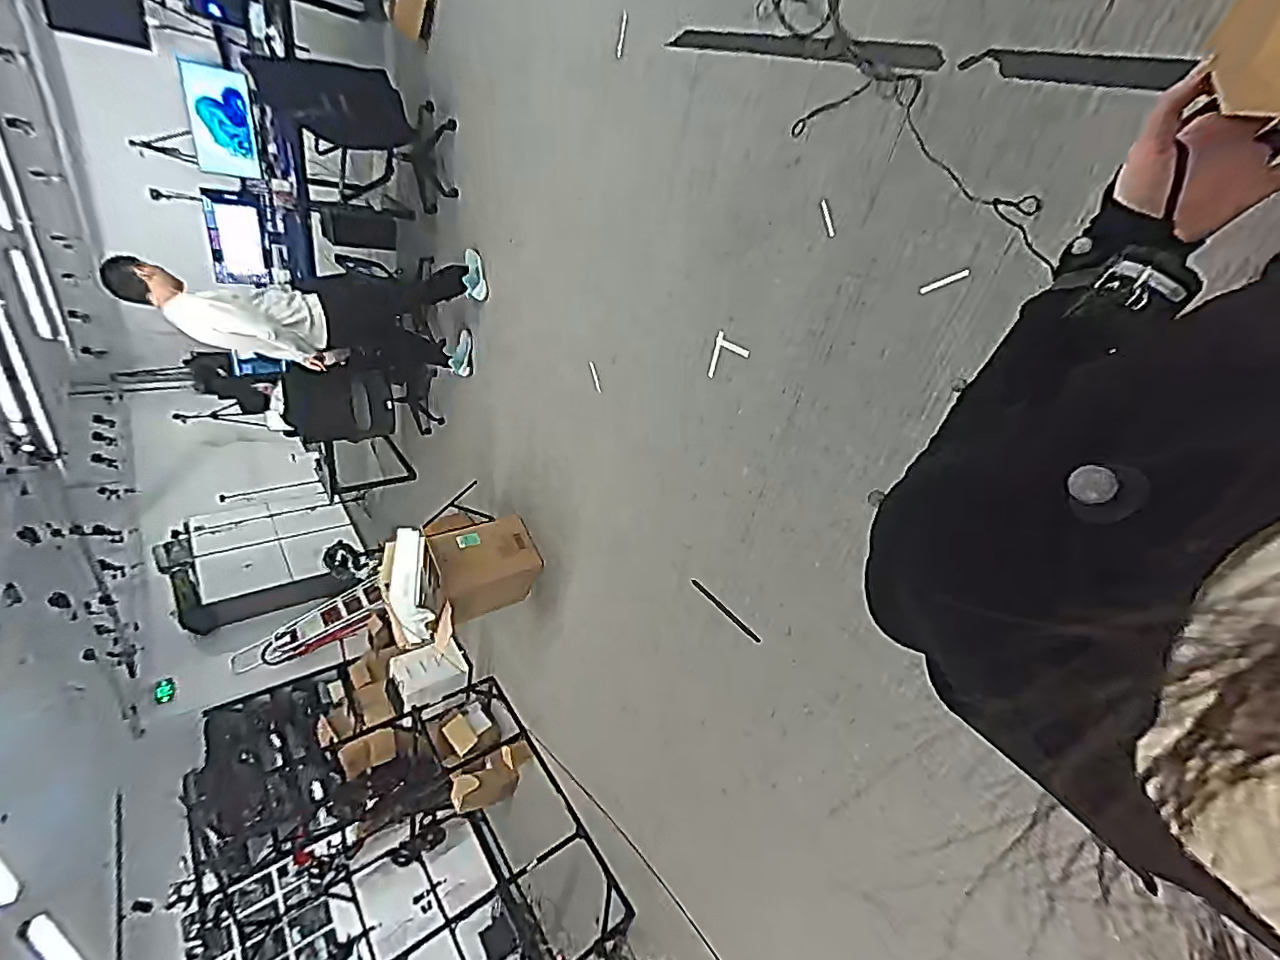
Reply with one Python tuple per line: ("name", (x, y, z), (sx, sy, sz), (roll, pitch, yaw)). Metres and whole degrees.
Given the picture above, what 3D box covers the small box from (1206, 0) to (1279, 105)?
("small box", (0.395, -0.269, 0.225), (0.179, 0.176, 0.168), (20, 142, 25))
